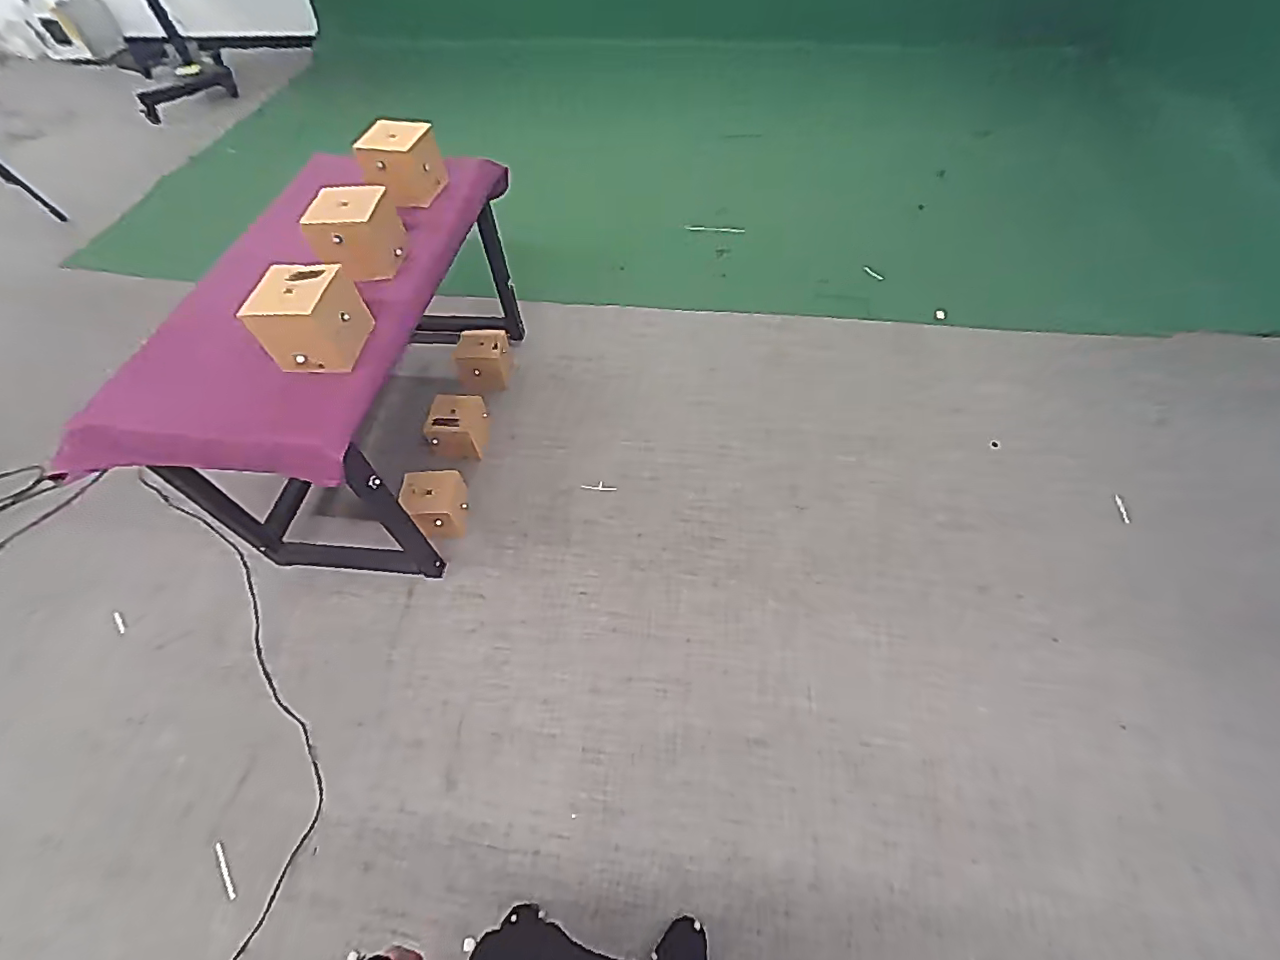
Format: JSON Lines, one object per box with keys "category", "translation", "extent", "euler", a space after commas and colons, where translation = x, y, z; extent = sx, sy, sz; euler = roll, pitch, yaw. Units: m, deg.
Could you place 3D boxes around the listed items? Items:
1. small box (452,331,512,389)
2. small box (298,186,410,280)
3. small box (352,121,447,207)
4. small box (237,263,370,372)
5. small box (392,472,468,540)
{"category": "small box", "translation": [-0.630, -0.480, 2.180], "extent": [0.179, 0.176, 0.168], "euler": [-1, 55, 2]}
{"category": "small box", "translation": [-0.738, -0.643, 1.415], "extent": [0.179, 0.176, 0.168], "euler": [1, 56, 3]}
{"category": "small box", "translation": [-0.709, -0.943, 1.622], "extent": [0.179, 0.176, 0.168], "euler": [9, 57, 10]}
{"category": "small box", "translation": [-0.742, -0.366, 1.219], "extent": [0.168, 0.176, 0.179], "euler": [1, 56, 5]}
{"category": "small box", "translation": [-0.684, 0.088, 1.788], "extent": [0.179, 0.176, 0.168], "euler": [-2, 55, 1]}
